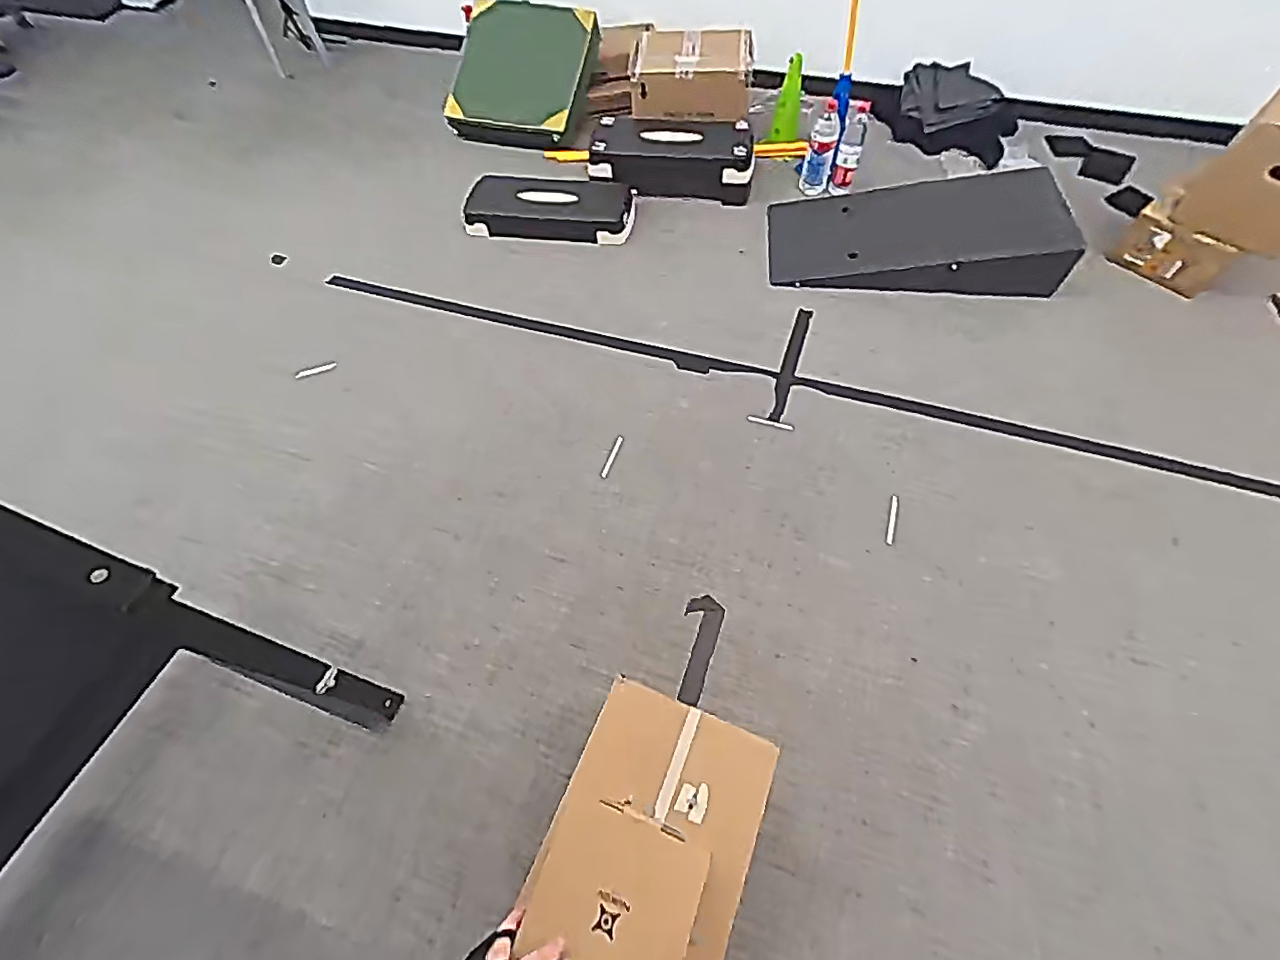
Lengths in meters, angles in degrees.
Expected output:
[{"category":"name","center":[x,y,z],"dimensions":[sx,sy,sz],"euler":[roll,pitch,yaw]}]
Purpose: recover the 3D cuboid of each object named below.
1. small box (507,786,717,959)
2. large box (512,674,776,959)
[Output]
[{"category":"small box","center":[-0.023,0.480,0.615],"dimensions":[0.168,0.176,0.179],"euler":[18,59,14]},{"category":"large box","center":[0.023,0.642,0.993],"dimensions":[0.320,0.320,0.408],"euler":[20,60,13]}]
